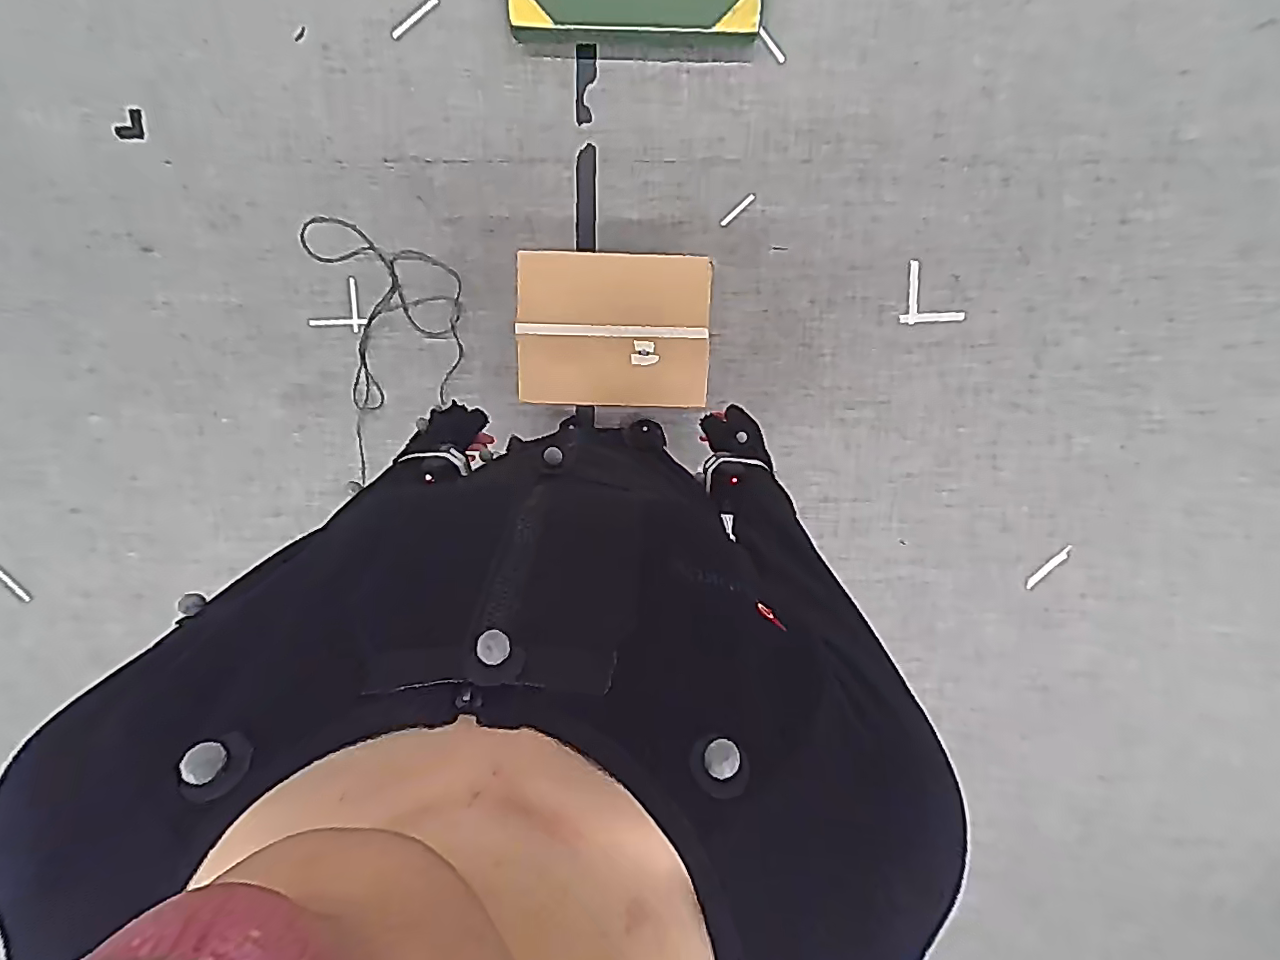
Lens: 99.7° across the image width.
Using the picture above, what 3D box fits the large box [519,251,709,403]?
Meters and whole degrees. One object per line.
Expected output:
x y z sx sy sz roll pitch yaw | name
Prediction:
-0.060 -0.343 1.297 0.408 0.320 0.320 1 98 -2 | large box
